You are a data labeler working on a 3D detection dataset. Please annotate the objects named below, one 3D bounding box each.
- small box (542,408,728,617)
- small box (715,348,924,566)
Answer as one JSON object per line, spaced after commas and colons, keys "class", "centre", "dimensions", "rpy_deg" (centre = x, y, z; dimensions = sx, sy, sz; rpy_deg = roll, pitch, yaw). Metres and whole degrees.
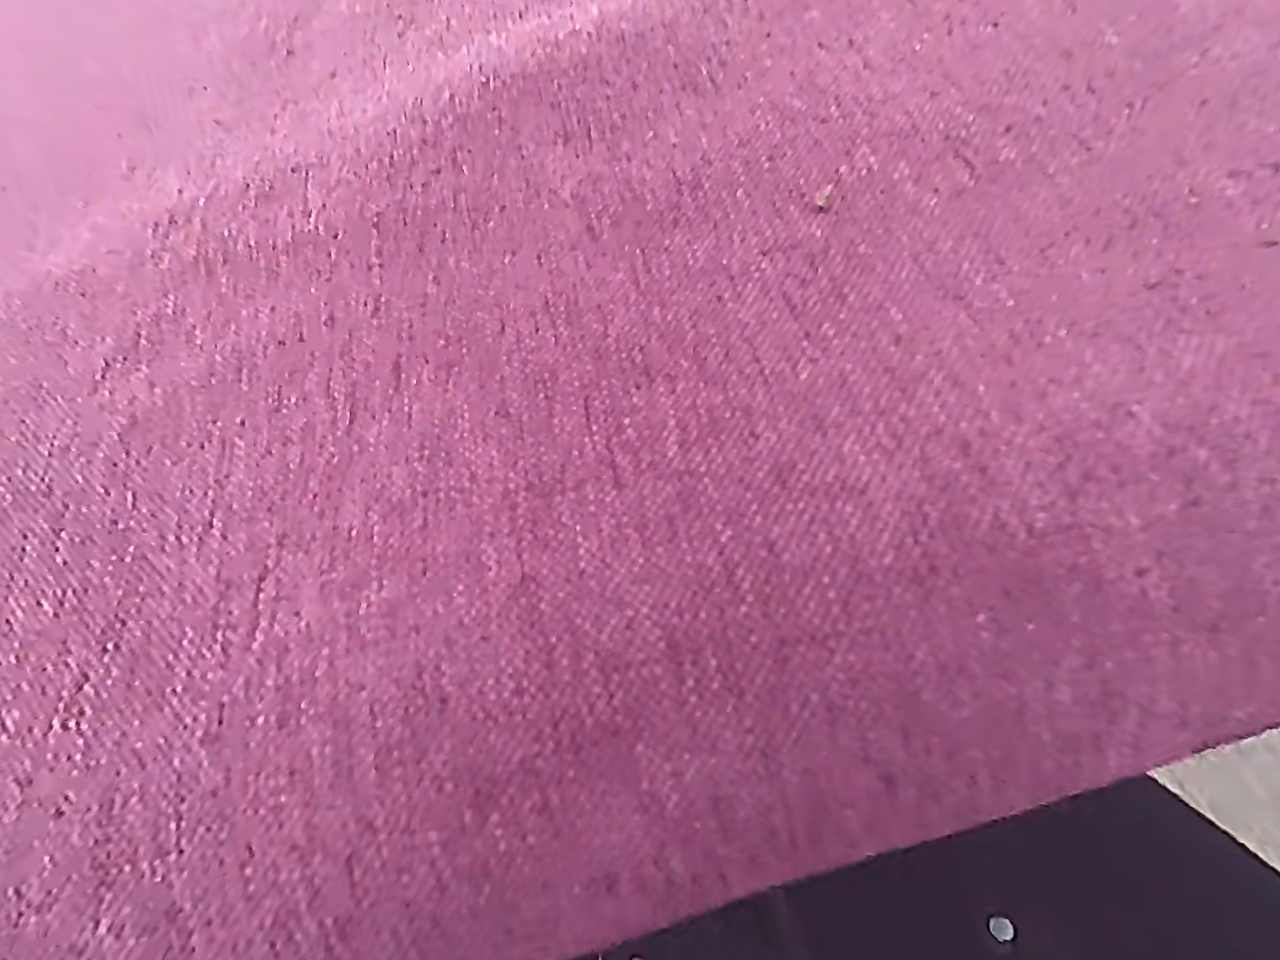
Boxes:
{"class": "small box", "centre": [-0.001, 0.048, 0.652], "dimensions": [0.168, 0.176, 0.179], "rpy_deg": [-20, 66, 2]}
{"class": "small box", "centre": [0.195, -0.018, 0.646], "dimensions": [0.168, 0.176, 0.179], "rpy_deg": [-19, 65, 2]}
